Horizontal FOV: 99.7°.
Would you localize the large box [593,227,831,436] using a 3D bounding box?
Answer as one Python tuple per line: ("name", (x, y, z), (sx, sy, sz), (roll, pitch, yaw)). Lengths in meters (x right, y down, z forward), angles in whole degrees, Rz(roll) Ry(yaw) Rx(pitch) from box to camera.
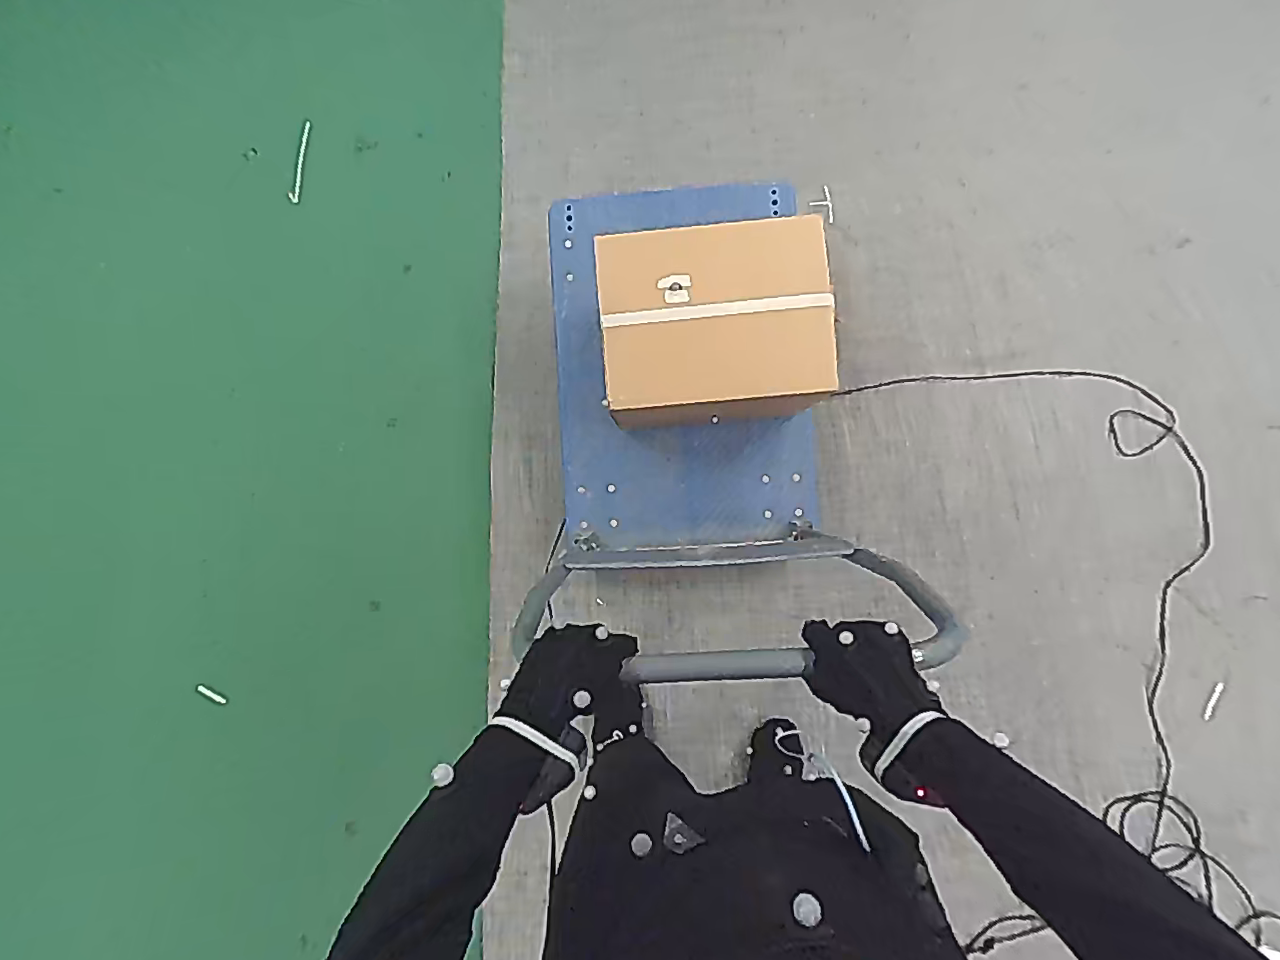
("large box", (0.136, -0.275, 1.113), (0.408, 0.320, 0.320), (-5, 88, 4))
